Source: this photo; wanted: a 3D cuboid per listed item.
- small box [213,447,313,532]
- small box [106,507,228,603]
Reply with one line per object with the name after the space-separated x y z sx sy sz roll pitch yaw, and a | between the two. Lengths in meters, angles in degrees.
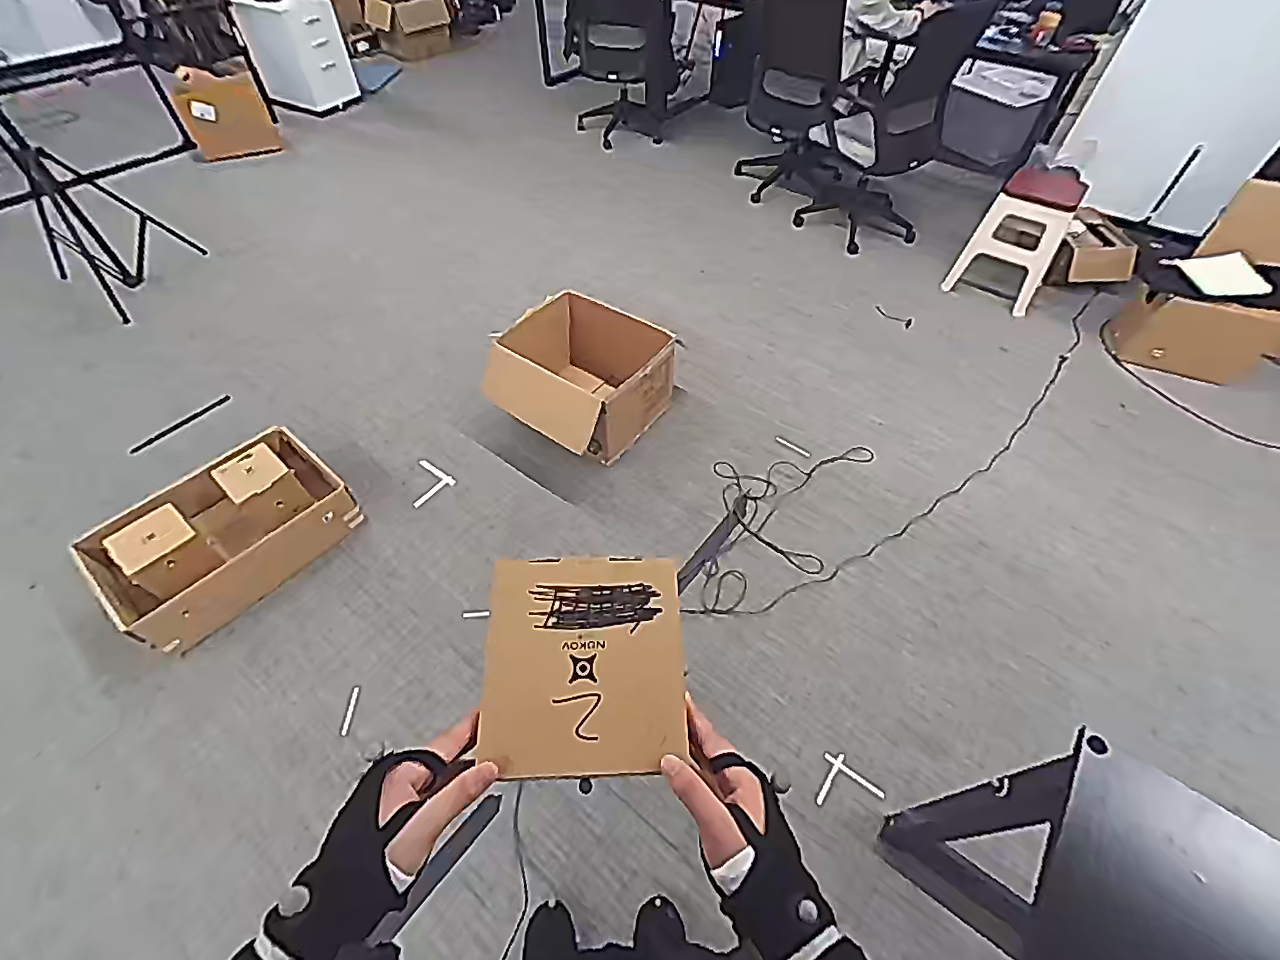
-1.170 0.037 1.692 0.179 0.176 0.168 36 60 22 | small box
-1.343 0.218 1.546 0.168 0.176 0.179 34 57 21 | small box
